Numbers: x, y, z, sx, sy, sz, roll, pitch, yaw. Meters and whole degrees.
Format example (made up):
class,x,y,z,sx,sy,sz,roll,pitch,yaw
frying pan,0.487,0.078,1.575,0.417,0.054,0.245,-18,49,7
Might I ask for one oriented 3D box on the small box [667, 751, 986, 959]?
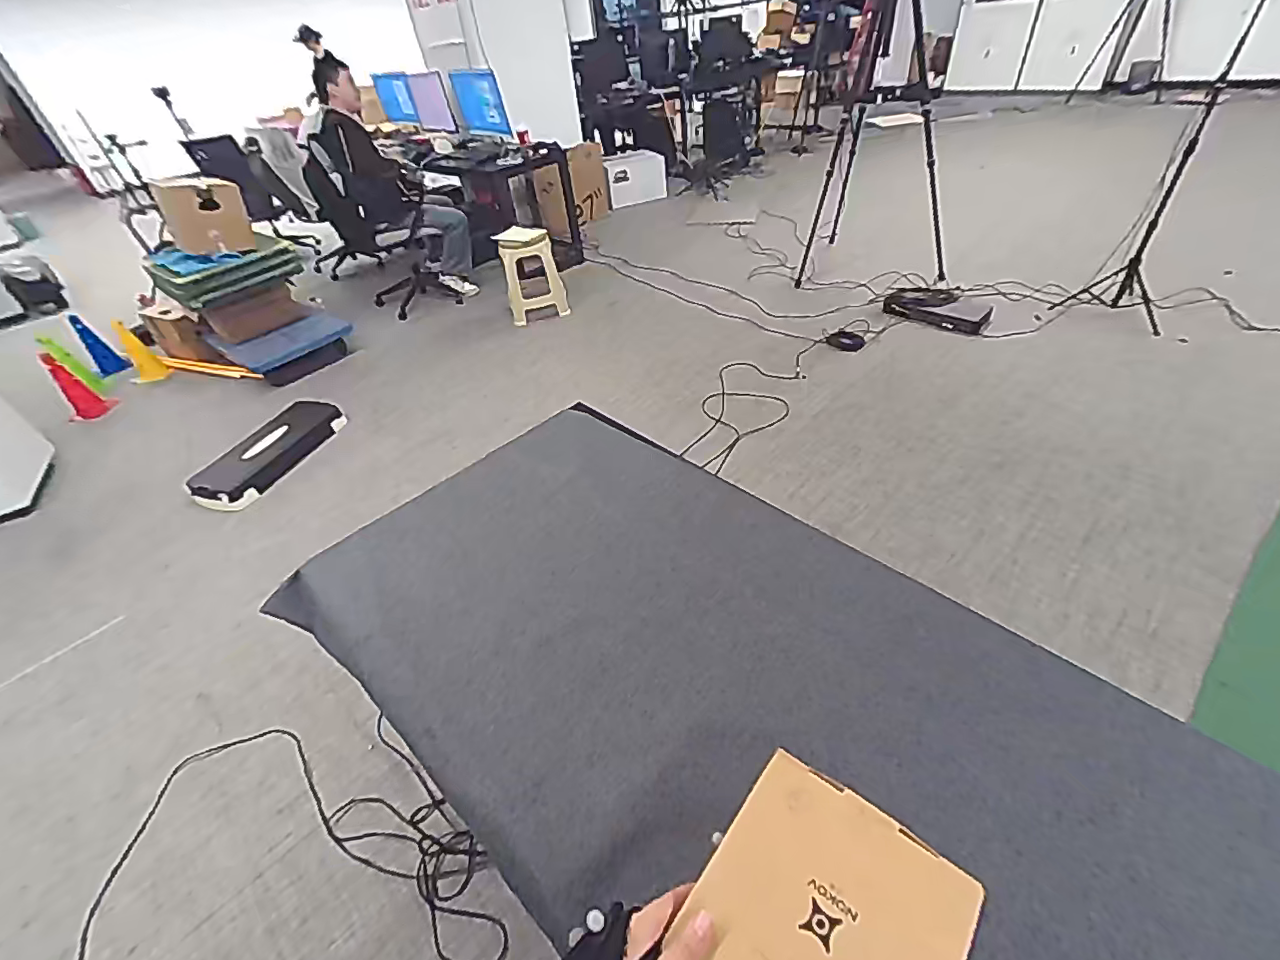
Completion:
class,x,y,z,sx,sy,sz,roll,pitch,yaw
small box,0.140,0.368,0.431,0.168,0.176,0.179,23,50,32
